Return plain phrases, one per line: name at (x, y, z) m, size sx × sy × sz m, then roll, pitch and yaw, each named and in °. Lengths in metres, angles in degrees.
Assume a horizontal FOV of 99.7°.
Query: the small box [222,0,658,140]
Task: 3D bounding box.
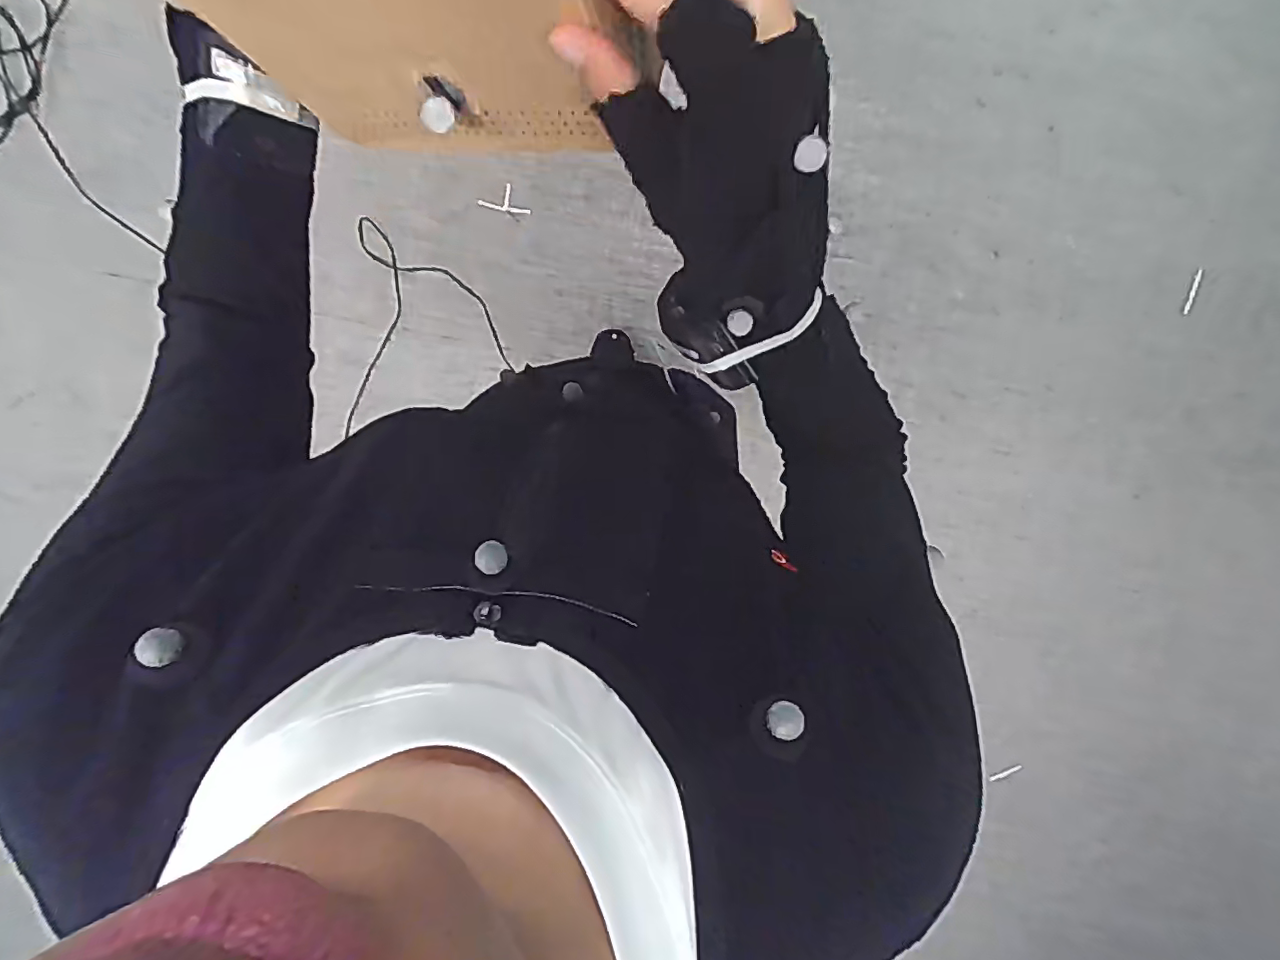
small box at (-0.083, -0.268, 0.215) m, size 0.179 × 0.176 × 0.168 m, roll 10°, pitch 87°, yaw 15°
